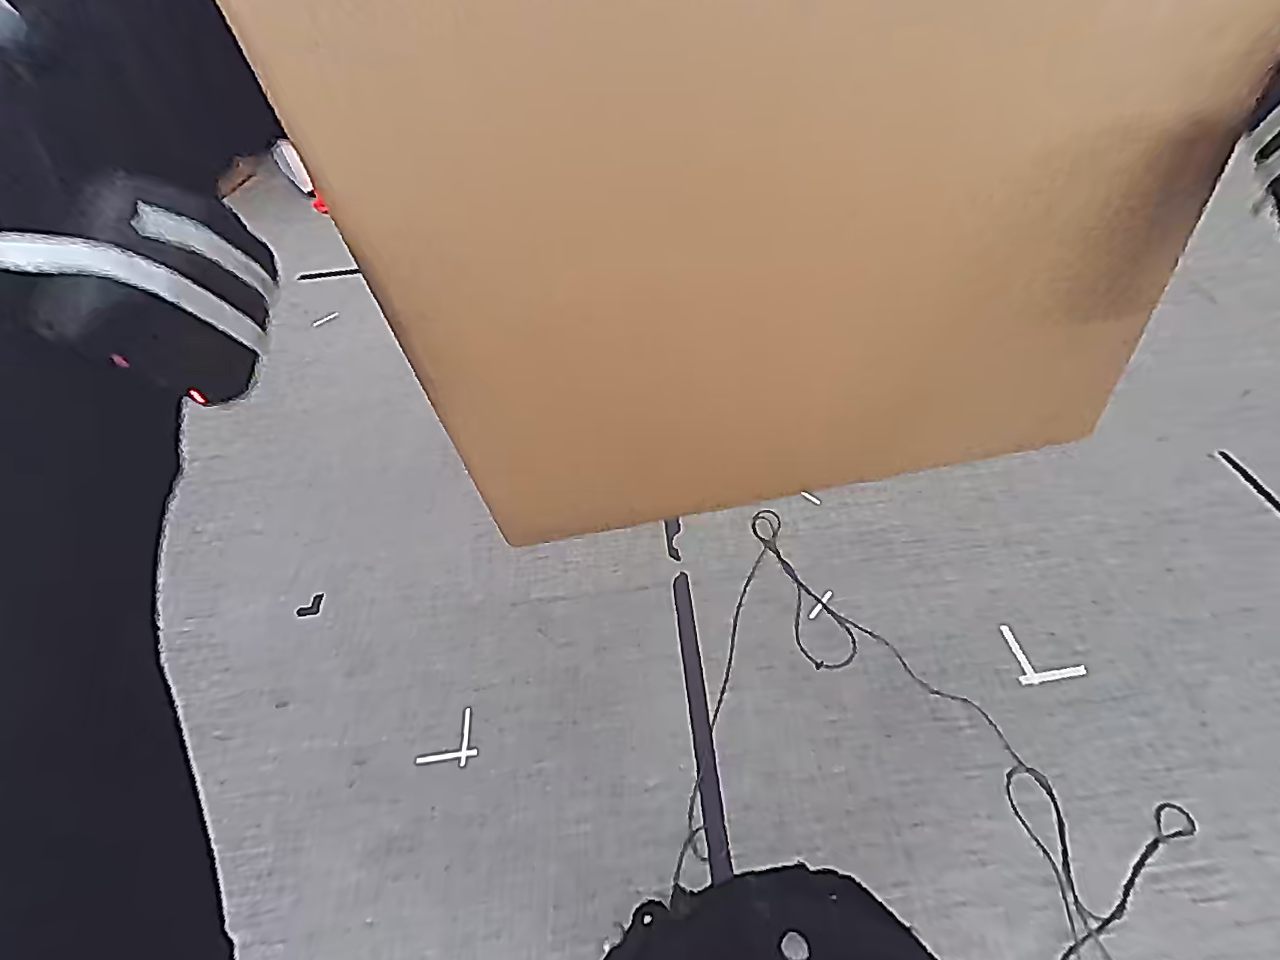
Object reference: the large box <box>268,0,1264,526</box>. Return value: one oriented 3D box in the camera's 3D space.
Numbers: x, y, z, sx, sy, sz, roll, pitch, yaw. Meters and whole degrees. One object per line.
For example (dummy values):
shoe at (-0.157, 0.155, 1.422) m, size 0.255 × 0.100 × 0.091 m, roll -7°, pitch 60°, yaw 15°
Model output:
large box at (0.062, -0.209, 0.383) m, size 0.408 × 0.320 × 0.320 m, roll -11°, pitch 43°, yaw 2°
